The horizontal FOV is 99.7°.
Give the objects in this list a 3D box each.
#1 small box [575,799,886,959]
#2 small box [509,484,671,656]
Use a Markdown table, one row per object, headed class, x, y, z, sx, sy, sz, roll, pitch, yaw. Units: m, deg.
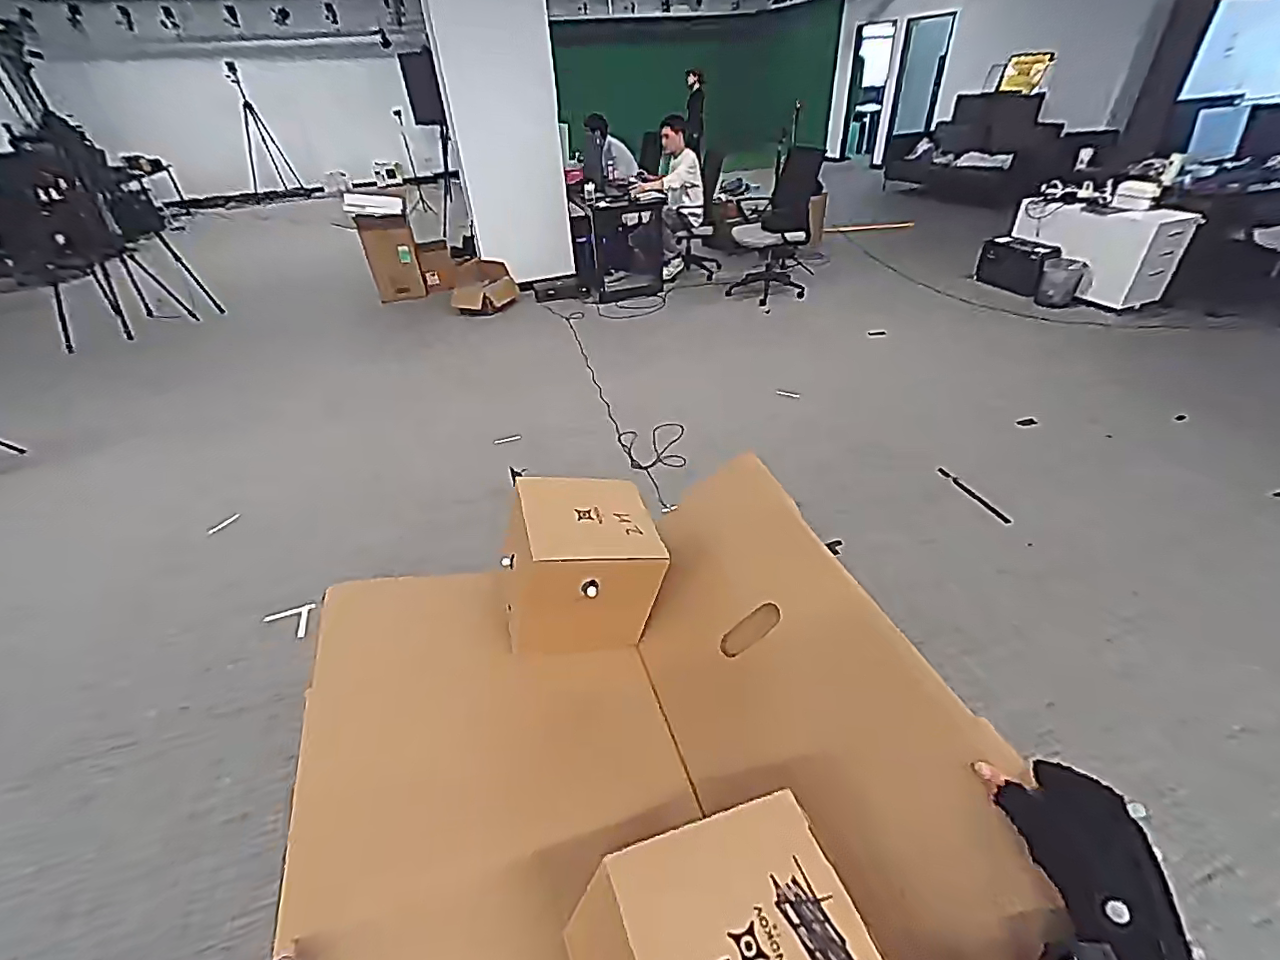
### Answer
| class | x | y | z | sx | sy | sz | roll | pitch | yaw |
| --- | --- | --- | --- | --- | --- | --- | --- | --- | --- |
| small box | 0.066 | 0.388 | 0.416 | 0.179 | 0.176 | 0.168 | -2 | 38 | -26 |
| small box | -0.081 | 0.123 | 0.744 | 0.179 | 0.176 | 0.168 | 3 | 35 | -22 |
